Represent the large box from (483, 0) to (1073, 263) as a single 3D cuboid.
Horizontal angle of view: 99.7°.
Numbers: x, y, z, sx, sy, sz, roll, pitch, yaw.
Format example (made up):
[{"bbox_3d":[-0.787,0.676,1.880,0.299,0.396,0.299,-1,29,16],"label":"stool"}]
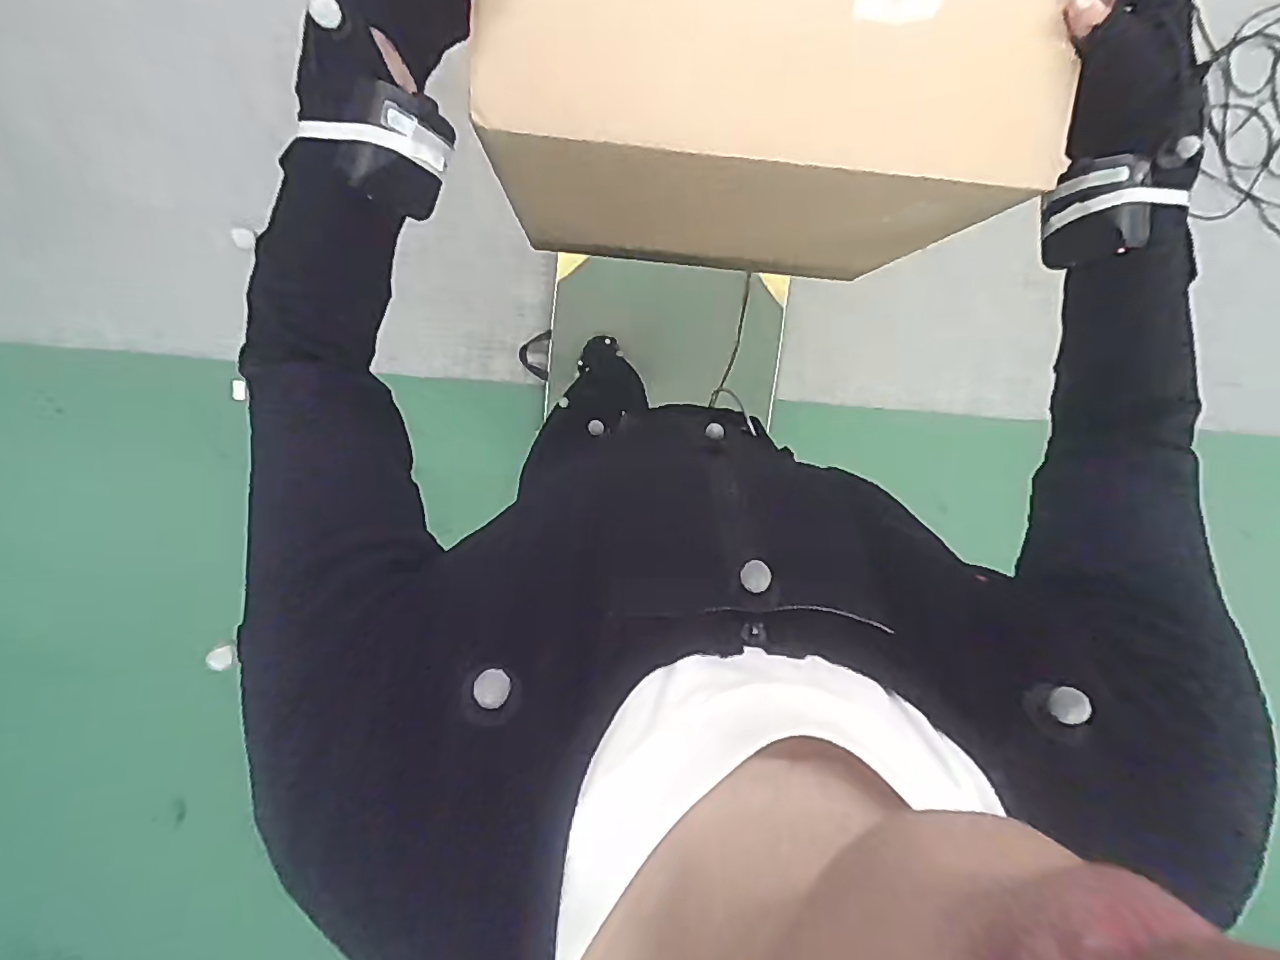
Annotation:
[{"bbox_3d":[0.087,-0.405,0.493,0.408,0.320,0.320,3,100,-6],"label":"large box"}]
